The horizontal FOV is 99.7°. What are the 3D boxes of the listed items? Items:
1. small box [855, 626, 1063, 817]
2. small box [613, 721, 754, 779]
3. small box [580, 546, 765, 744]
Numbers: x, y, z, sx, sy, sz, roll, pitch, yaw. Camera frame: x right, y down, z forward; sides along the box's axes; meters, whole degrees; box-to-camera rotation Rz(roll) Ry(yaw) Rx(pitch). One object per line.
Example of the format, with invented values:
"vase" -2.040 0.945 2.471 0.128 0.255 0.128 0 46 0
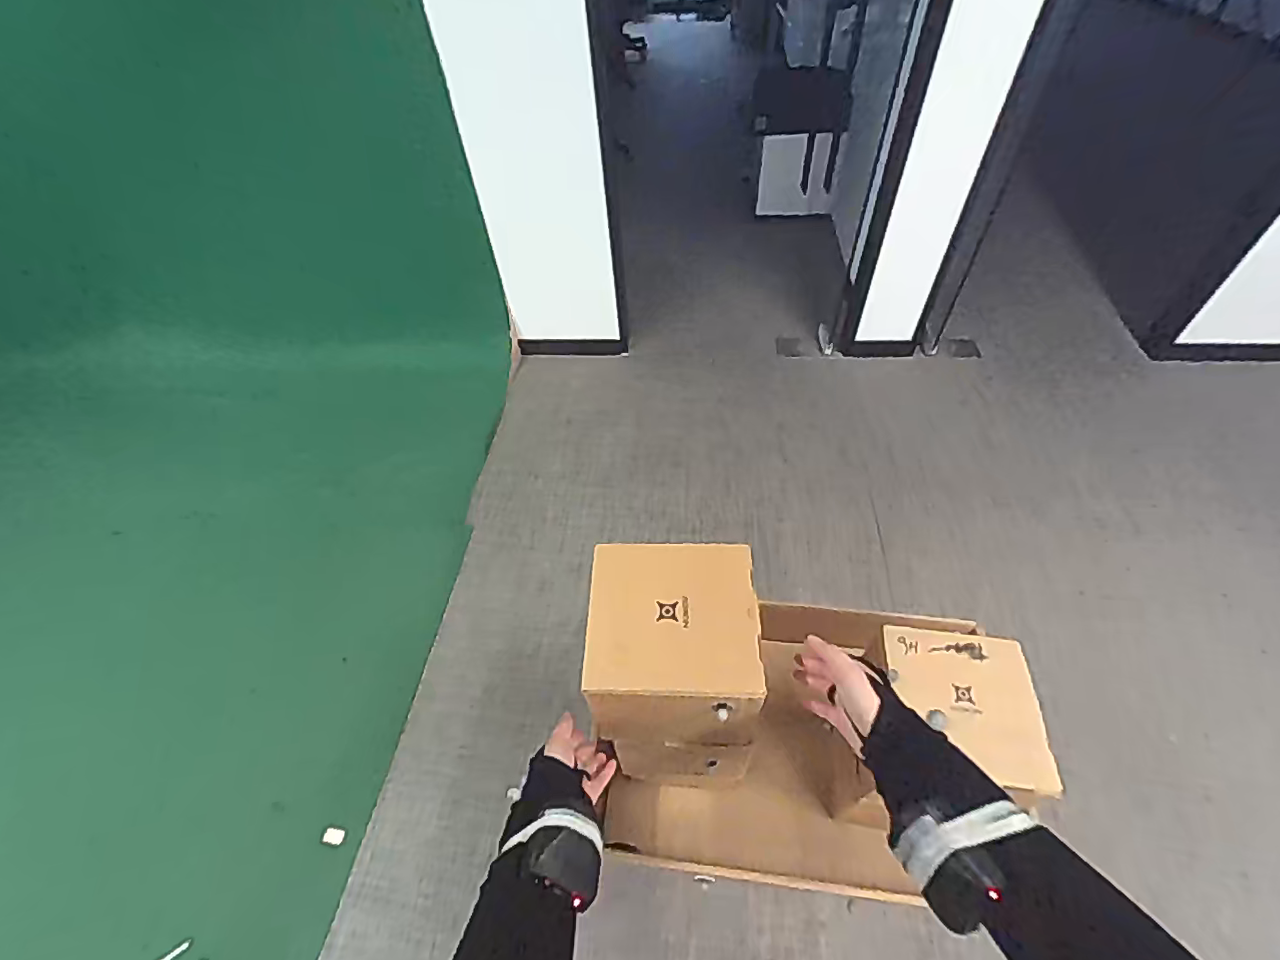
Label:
"small box" 0.383 0.311 0.690 0.168 0.176 0.179 5 52 8
"small box" 0.061 0.293 0.733 0.168 0.176 0.179 1 50 4
"small box" 0.037 0.189 0.610 0.179 0.176 0.168 0 50 3
